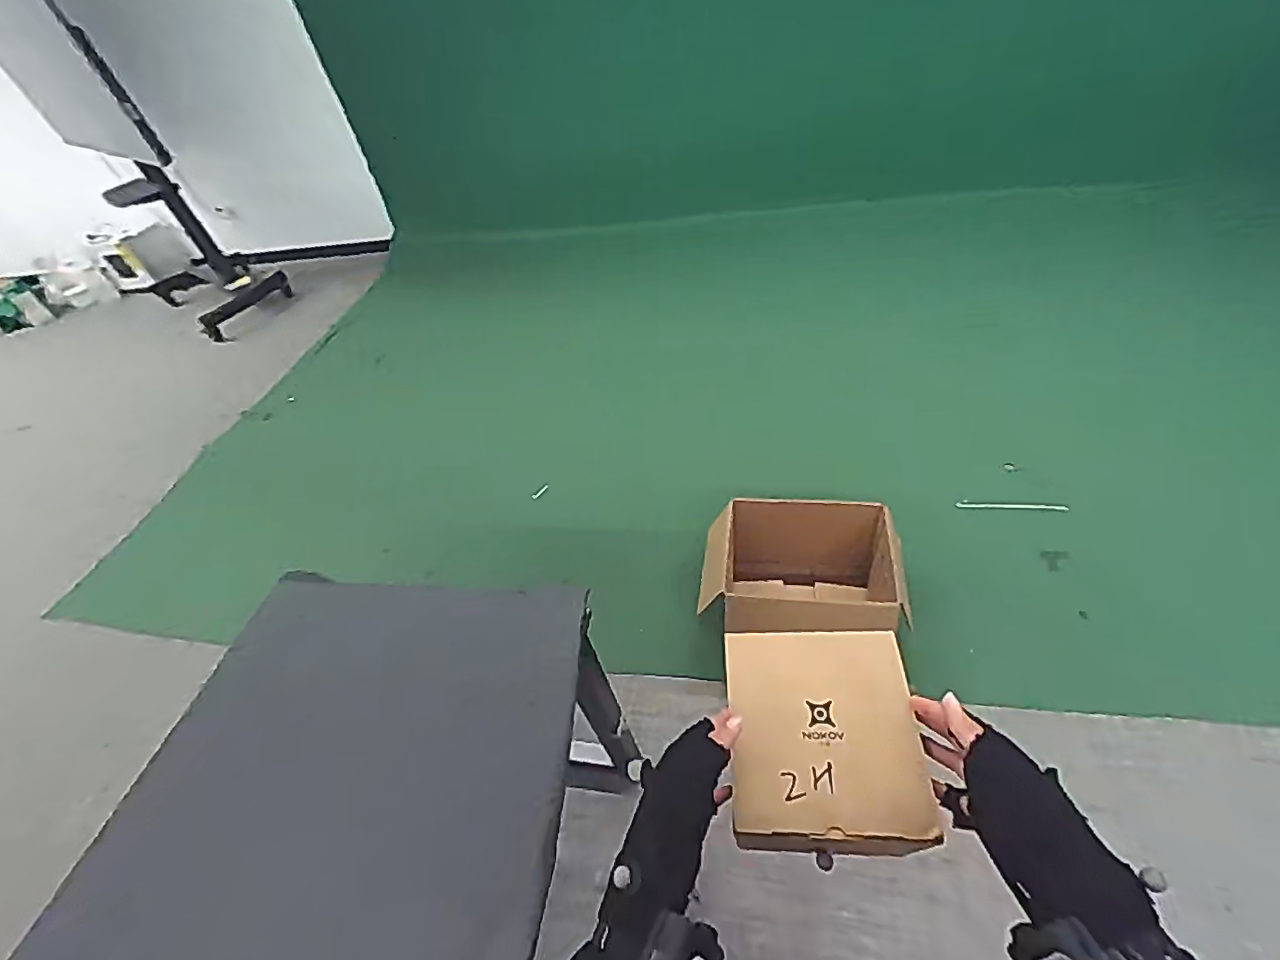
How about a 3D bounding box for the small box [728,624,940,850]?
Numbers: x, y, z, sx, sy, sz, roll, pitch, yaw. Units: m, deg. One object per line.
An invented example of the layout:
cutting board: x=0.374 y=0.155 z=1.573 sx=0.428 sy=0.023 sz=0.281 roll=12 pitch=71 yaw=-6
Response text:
small box: x=0.176 y=0.263 z=0.554 sx=0.168 sy=0.176 sz=0.179 roll=-4 pitch=53 yaw=10
